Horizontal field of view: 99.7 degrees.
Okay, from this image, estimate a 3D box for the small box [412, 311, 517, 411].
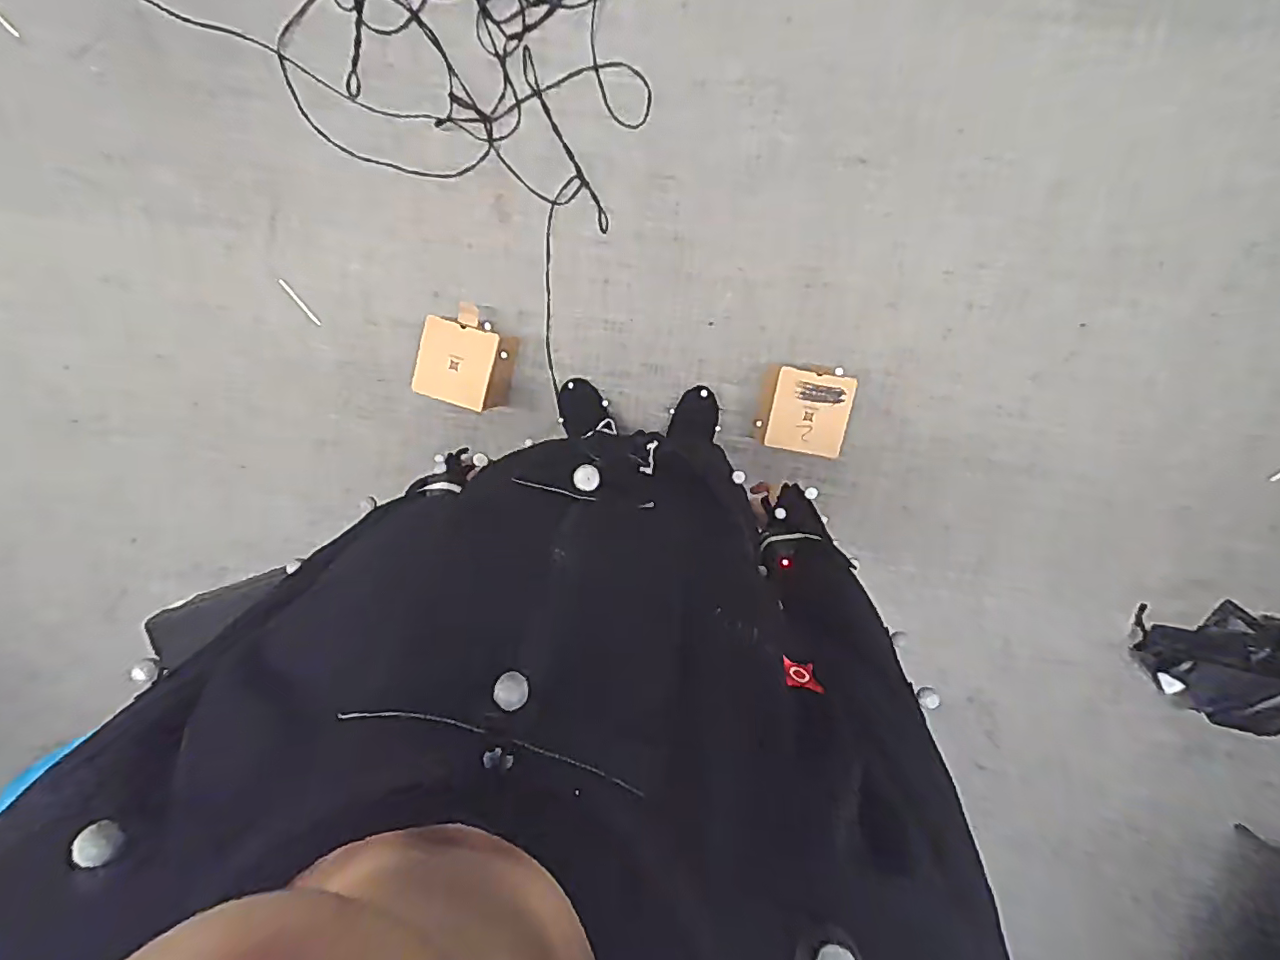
[{"bbox_3d":[-0.397,-0.272,1.249,0.168,0.176,0.179,17,102,-1],"label":"small box"}]
